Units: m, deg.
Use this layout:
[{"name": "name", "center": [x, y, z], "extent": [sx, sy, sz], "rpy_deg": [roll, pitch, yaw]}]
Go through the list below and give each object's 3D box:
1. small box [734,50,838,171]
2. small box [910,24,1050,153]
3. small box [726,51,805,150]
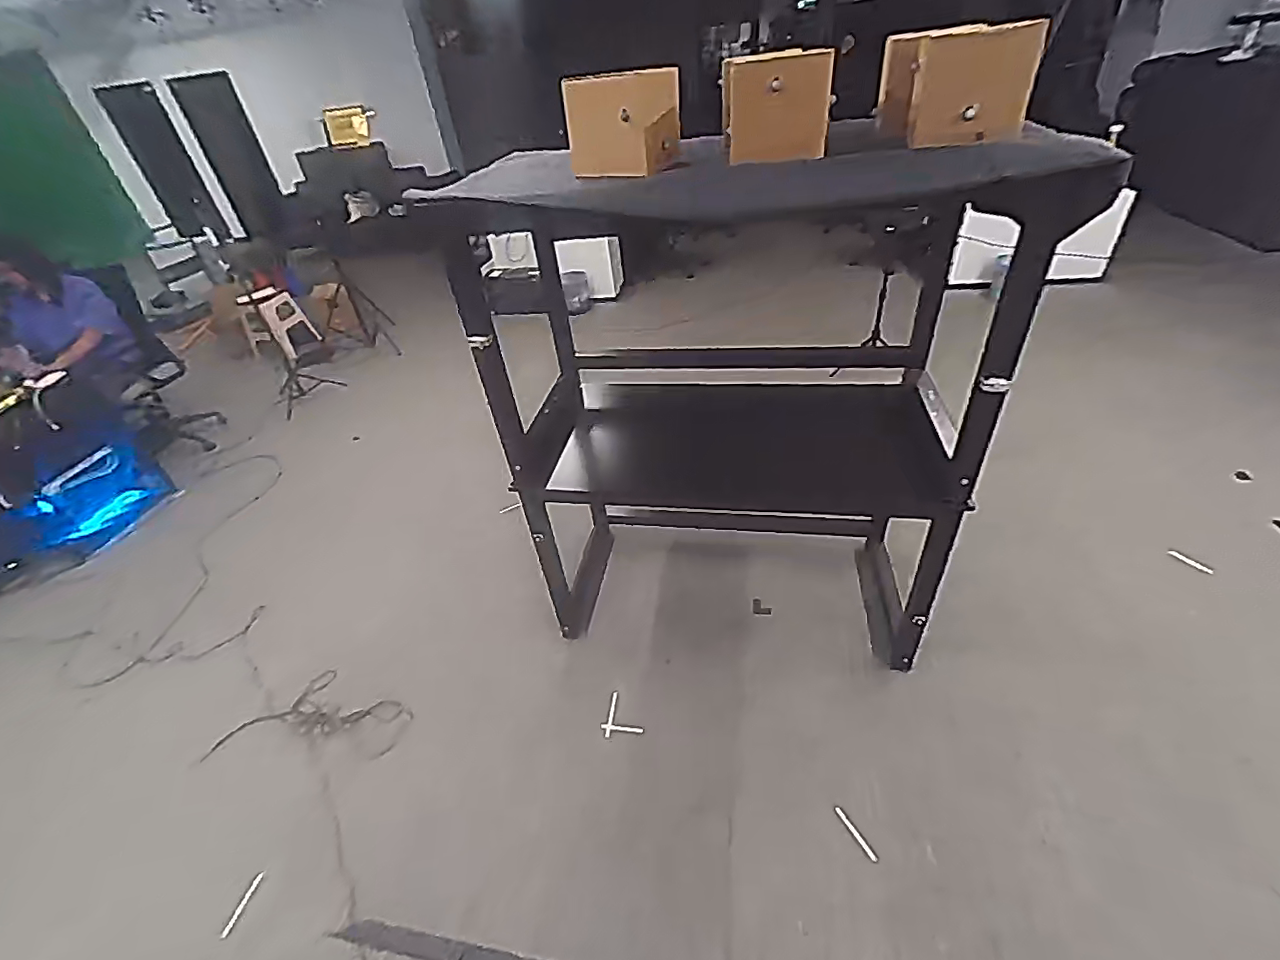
[{"name": "small box", "center": [0.276, -0.711, 1.045], "extent": [0.179, 0.176, 0.168], "rpy_deg": [2, 39, 12]}, {"name": "small box", "center": [0.591, -0.695, 0.968], "extent": [0.168, 0.176, 0.179], "rpy_deg": [6, 40, 18]}, {"name": "small box", "center": [0.286, -0.870, 1.242], "extent": [0.168, 0.176, 0.179], "rpy_deg": [1, 39, 12]}]
